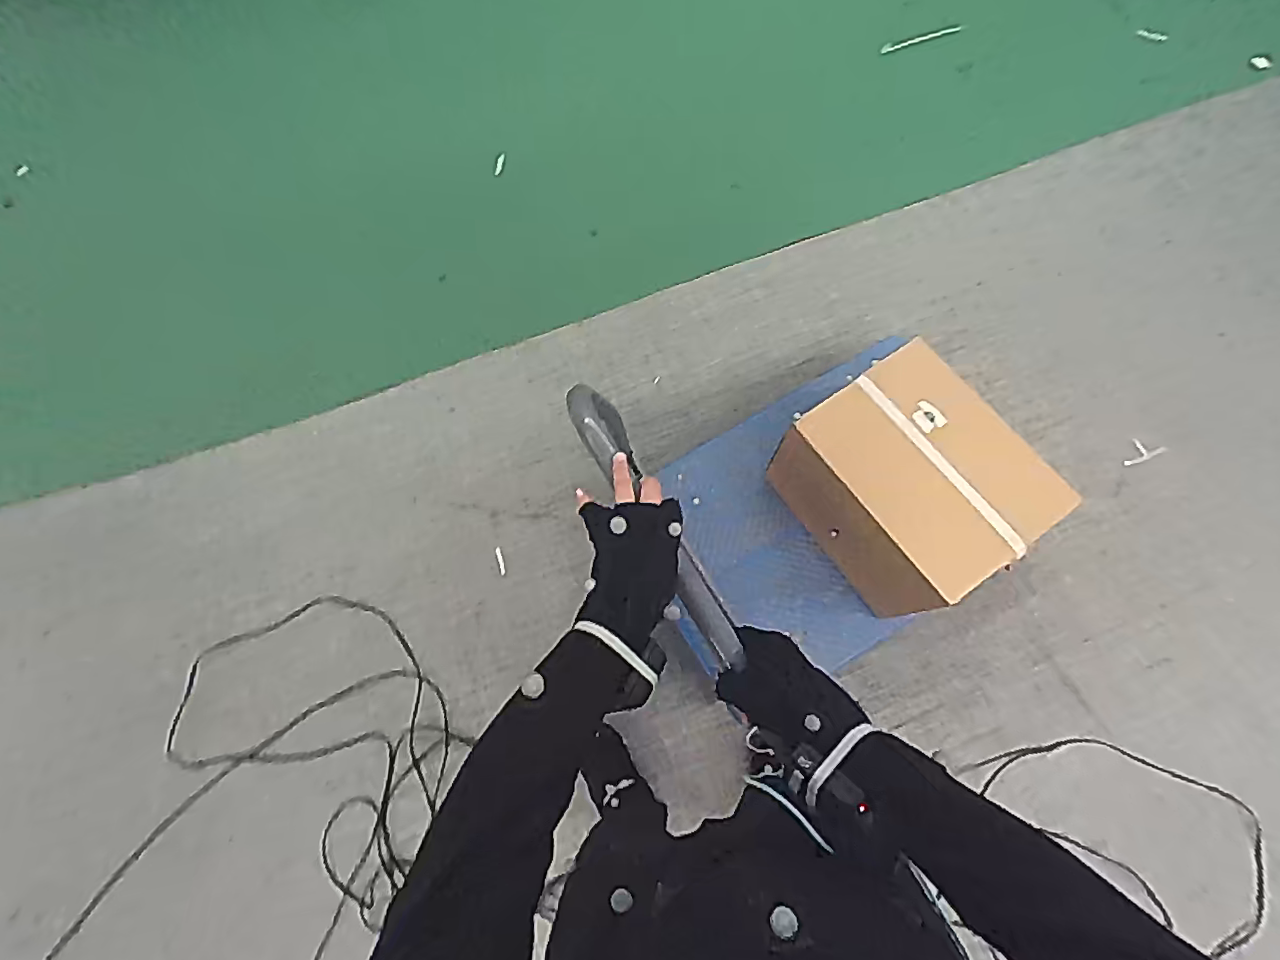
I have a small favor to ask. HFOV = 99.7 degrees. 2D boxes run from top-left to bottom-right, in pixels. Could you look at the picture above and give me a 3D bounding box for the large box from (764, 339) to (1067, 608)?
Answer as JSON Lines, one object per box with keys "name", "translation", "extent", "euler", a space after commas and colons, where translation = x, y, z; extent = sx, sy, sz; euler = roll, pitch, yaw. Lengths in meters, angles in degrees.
{"name": "large box", "translation": [0.520, 0.005, 1.119], "extent": [0.320, 0.320, 0.408], "euler": [-35, 73, -9]}
